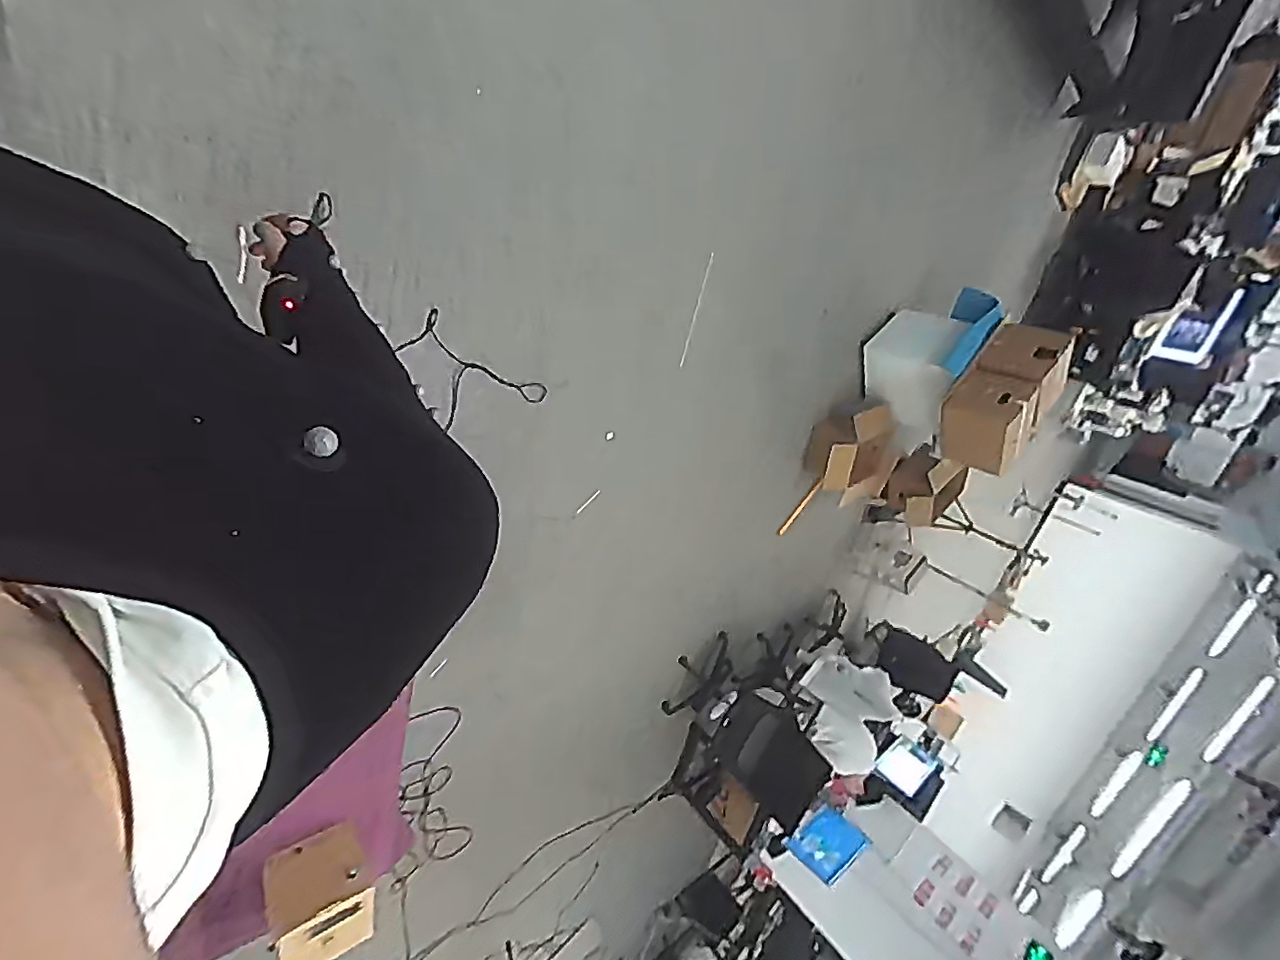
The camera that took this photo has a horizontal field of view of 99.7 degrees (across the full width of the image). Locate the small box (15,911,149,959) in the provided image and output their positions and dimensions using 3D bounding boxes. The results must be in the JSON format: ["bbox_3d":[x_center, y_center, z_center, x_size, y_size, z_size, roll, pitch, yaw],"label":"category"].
[{"bbox_3d":[-0.922,0.876,0.889,0.168,0.176,0.179,-4,117,-42],"label":"small box"}]
